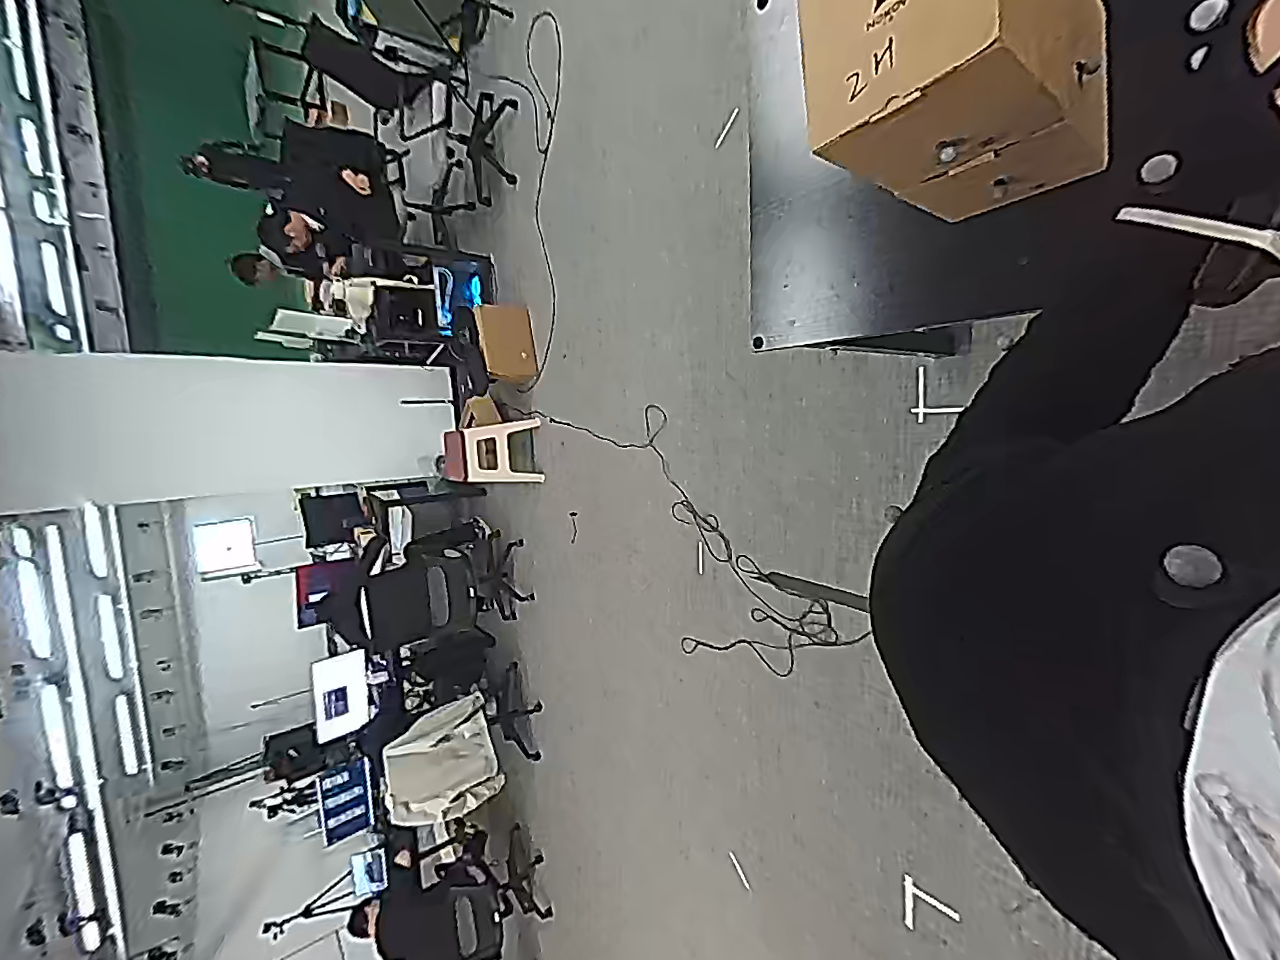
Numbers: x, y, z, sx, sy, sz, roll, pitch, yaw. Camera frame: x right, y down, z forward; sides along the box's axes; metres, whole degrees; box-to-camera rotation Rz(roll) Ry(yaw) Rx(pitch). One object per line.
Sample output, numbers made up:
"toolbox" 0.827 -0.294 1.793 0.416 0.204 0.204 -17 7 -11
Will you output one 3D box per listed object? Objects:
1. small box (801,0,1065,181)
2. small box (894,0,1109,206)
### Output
"small box" 0.274 -0.420 0.510 0.168 0.176 0.179 -2 94 53
"small box" 0.405 -0.432 0.612 0.168 0.176 0.179 0 96 52
